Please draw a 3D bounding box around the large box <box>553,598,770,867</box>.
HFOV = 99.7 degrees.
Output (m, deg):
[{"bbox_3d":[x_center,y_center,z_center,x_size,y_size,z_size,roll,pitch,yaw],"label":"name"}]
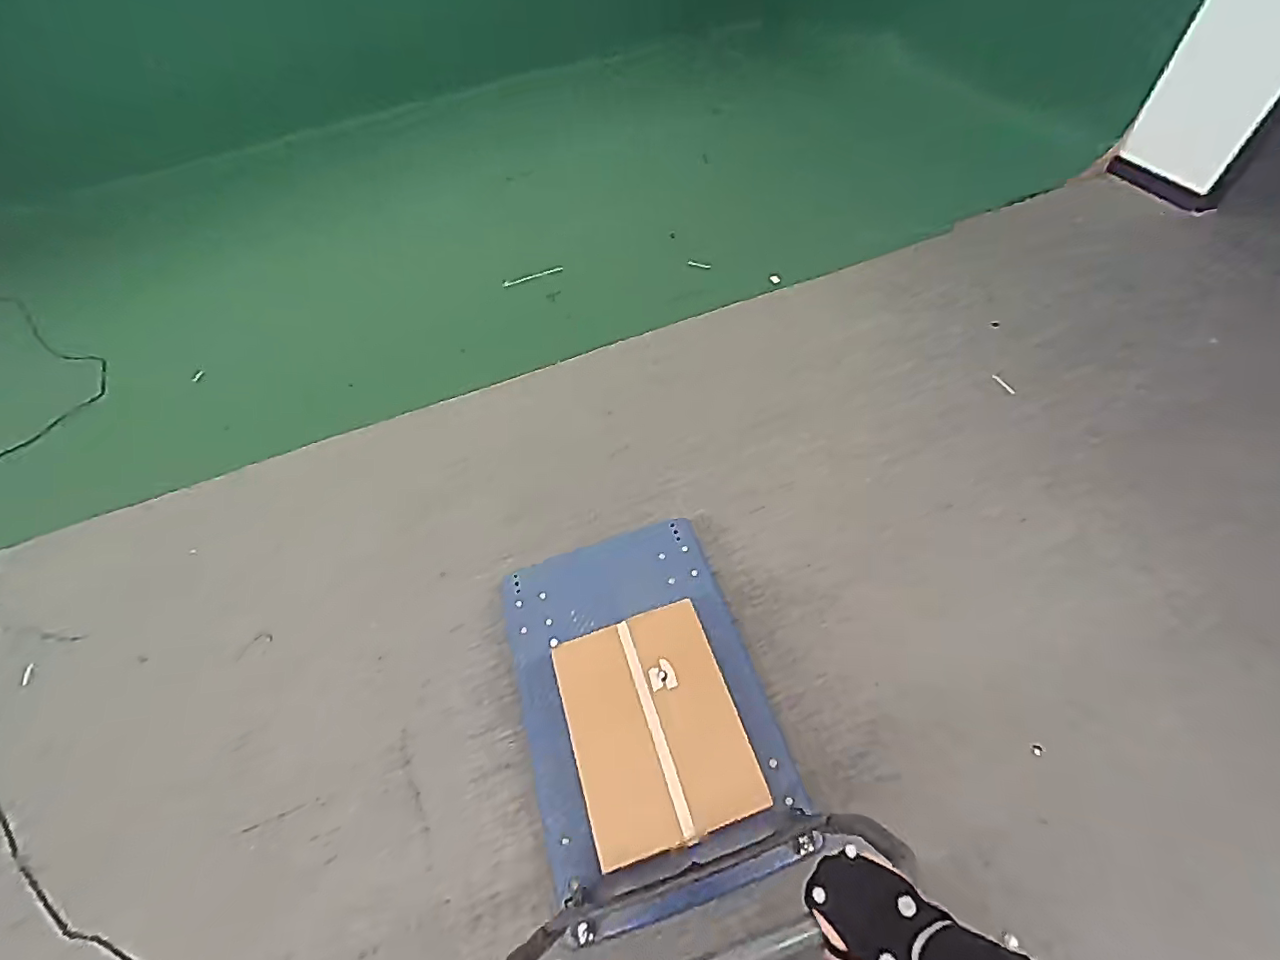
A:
[{"bbox_3d":[0.040,0.534,1.152,0.320,0.320,0.408,-18,55,-6],"label":"large box"}]
